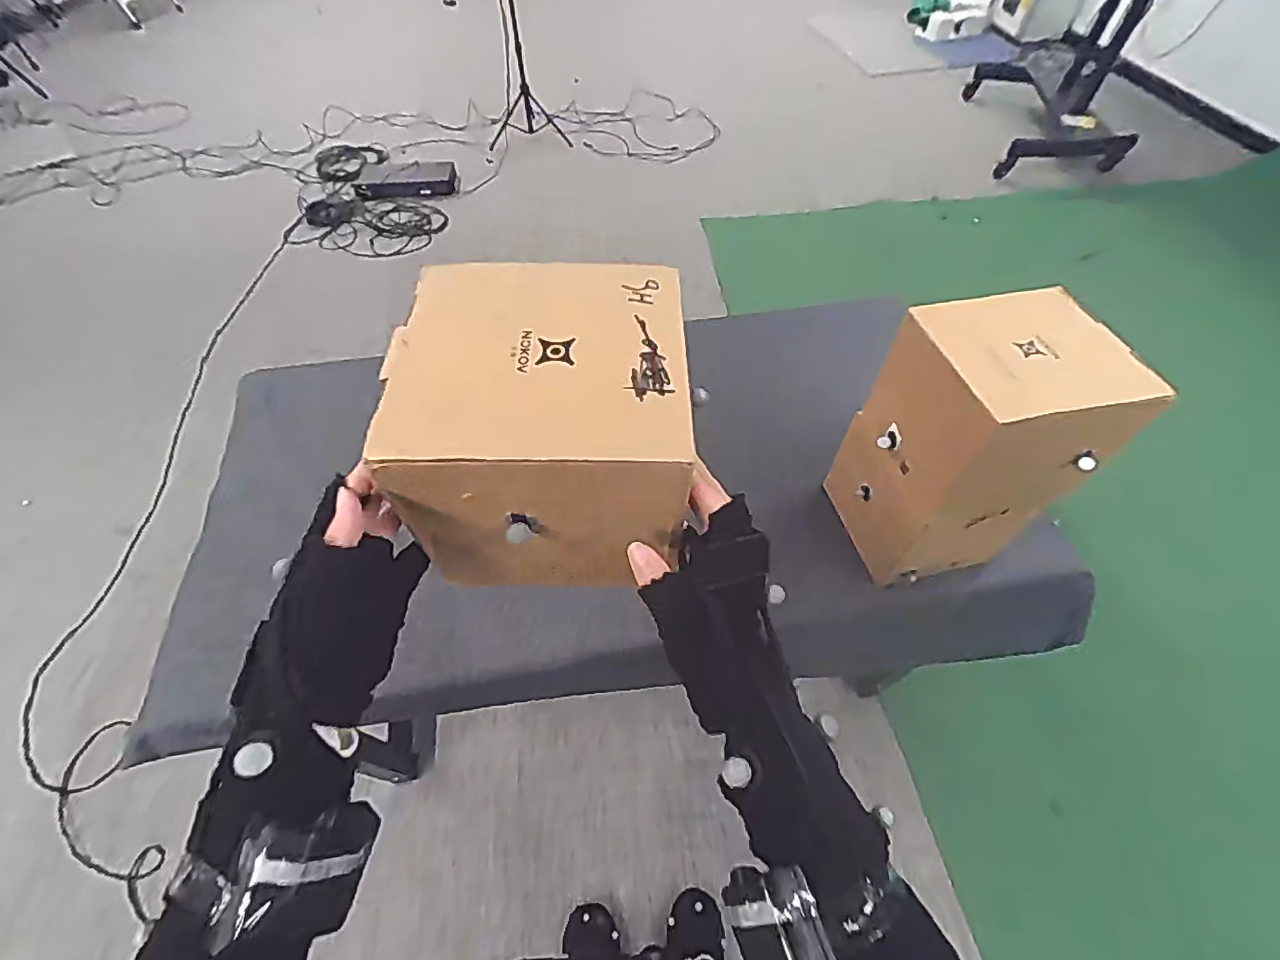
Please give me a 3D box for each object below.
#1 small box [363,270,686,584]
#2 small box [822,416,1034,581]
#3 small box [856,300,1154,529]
[{"bbox_3d":[-0.061,-0.030,0.396,0.179,0.176,0.168,0,57,-1],"label":"small box"},{"bbox_3d":[0.370,0.020,0.727,0.168,0.176,0.179,-11,54,-7],"label":"small box"},{"bbox_3d":[0.370,-0.067,0.591,0.179,0.176,0.168,-10,53,-5],"label":"small box"}]
